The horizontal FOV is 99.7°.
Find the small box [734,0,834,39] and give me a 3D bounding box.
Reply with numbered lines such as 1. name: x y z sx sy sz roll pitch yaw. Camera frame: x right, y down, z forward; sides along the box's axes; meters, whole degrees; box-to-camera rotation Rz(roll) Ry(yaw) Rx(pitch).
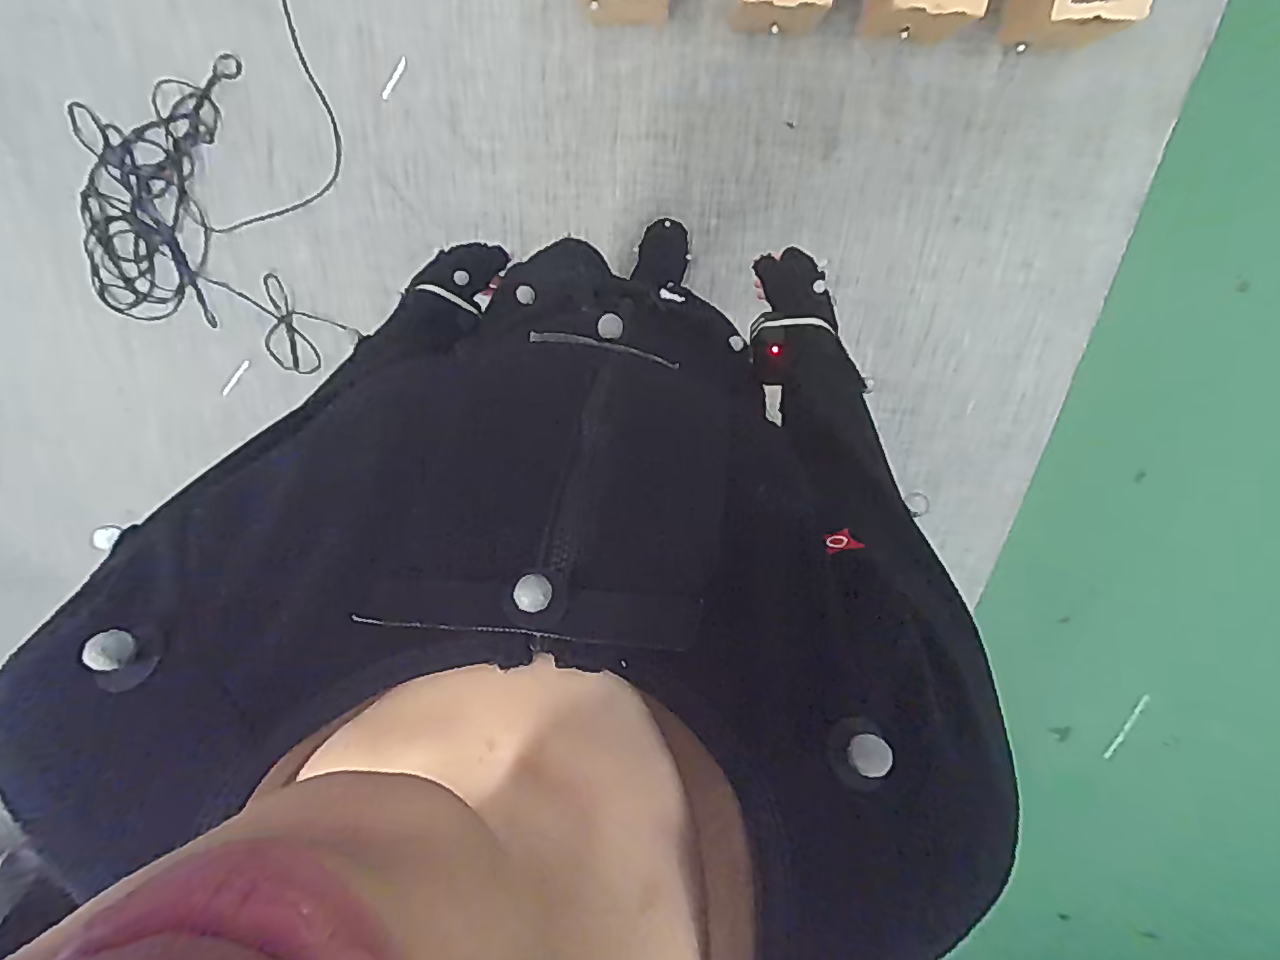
1. small box: 0.269 -0.946 0.989 0.168 0.176 0.179 5 116 2

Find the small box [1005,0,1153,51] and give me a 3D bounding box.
1. small box: 0.805 -0.906 0.980 0.168 0.176 0.179 3 115 2

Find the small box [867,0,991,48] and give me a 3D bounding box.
1. small box: 0.537 -0.928 0.986 0.168 0.176 0.179 6 116 0
